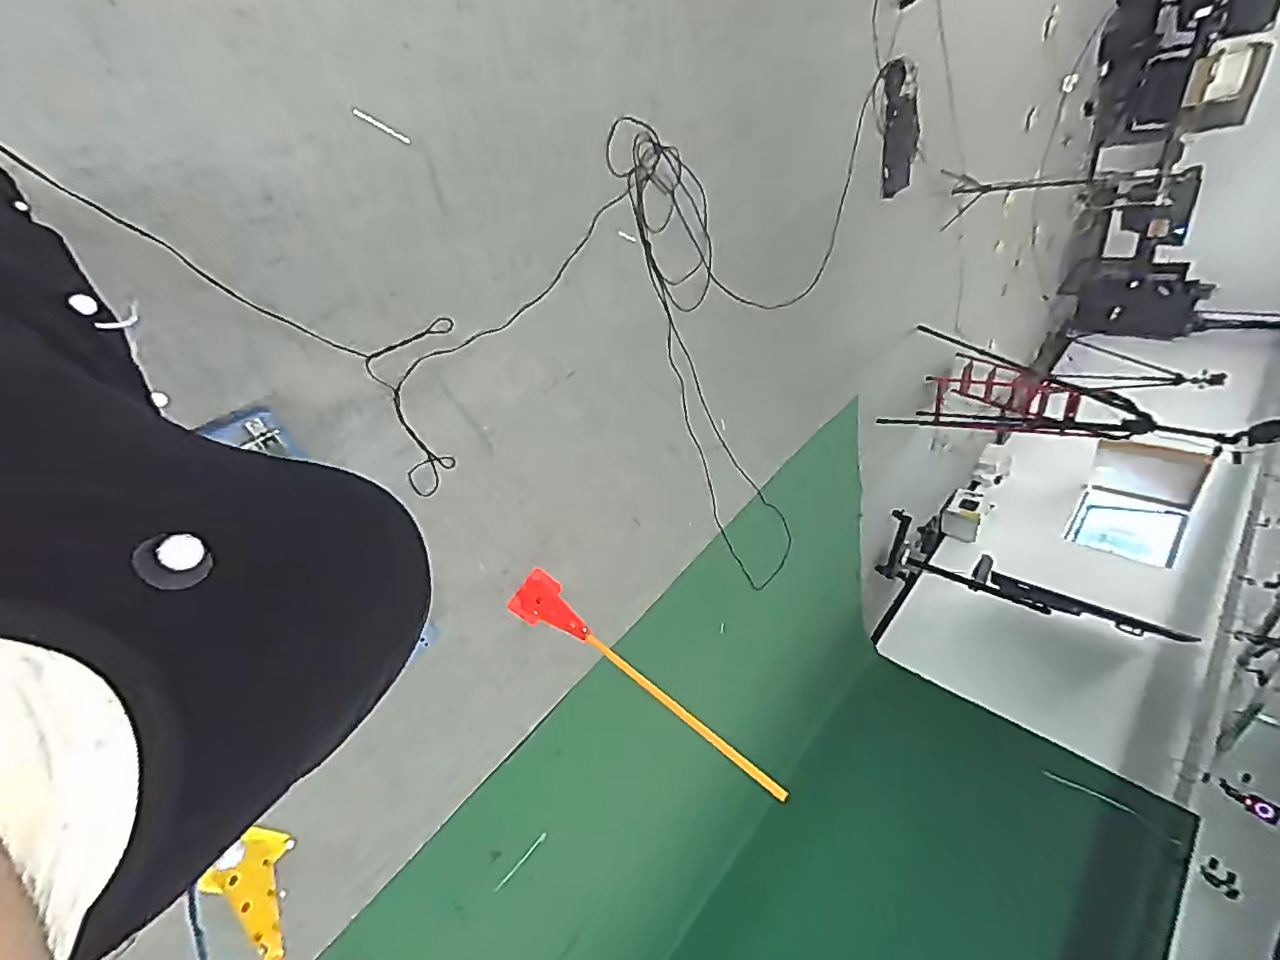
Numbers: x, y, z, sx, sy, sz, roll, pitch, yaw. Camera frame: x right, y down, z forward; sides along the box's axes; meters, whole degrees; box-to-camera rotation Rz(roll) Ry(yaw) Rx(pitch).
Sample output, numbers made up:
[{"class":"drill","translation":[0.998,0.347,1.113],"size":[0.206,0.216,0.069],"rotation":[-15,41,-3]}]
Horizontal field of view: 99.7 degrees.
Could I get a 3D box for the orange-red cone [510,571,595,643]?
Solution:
[{"class":"orange-red cone","translation":[-0.302,0.532,2.098],"size":[0.199,0.360,0.198],"rotation":[-54,137,-18]}]
